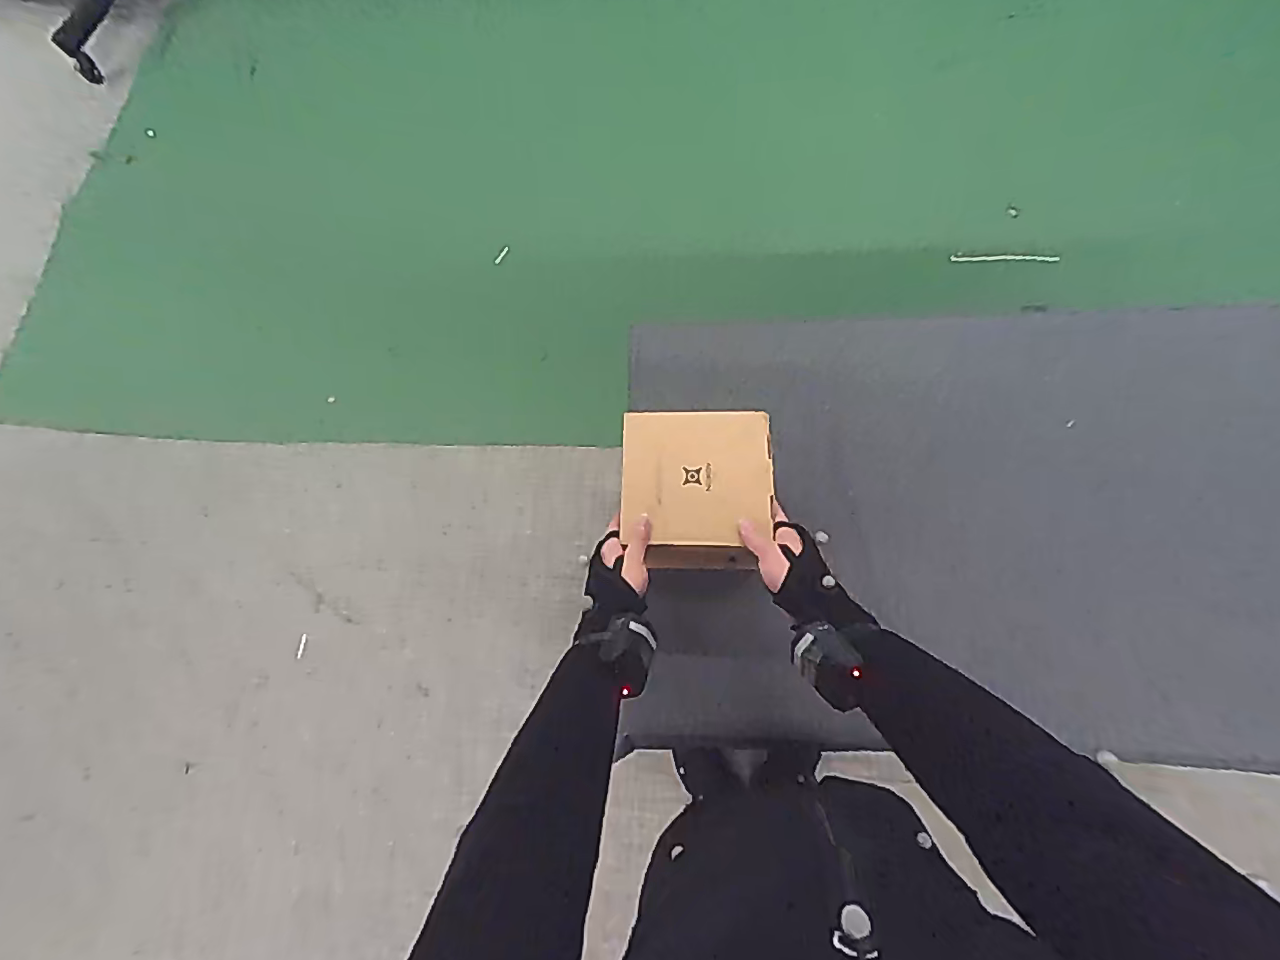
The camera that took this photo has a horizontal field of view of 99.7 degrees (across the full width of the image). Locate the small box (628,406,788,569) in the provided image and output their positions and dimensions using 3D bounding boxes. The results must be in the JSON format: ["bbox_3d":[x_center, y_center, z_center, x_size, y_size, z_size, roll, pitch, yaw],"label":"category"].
[{"bbox_3d":[0.079,0.017,0.688,0.179,0.176,0.168,0,70,4],"label":"small box"}]
